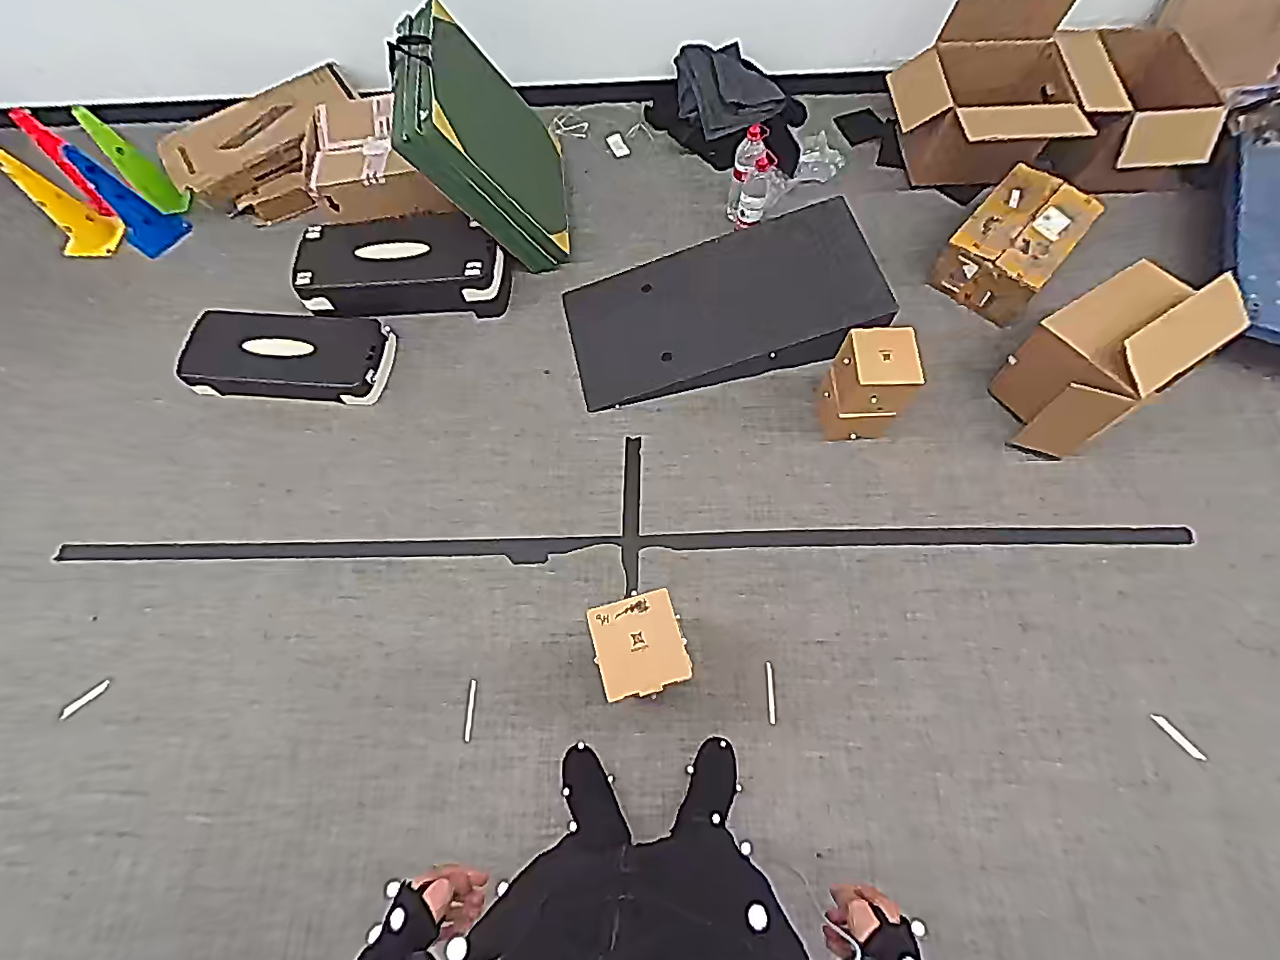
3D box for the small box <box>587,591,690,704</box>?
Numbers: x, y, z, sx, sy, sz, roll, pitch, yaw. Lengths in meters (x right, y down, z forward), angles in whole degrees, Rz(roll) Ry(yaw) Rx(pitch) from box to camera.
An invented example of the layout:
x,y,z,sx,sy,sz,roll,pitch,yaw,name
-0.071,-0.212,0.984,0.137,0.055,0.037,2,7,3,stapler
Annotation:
x,y,z,sx,sy,sz,roll,pitch,yaw,name
-0.001,0.341,1.099,0.168,0.176,0.179,-15,69,-4,small box
